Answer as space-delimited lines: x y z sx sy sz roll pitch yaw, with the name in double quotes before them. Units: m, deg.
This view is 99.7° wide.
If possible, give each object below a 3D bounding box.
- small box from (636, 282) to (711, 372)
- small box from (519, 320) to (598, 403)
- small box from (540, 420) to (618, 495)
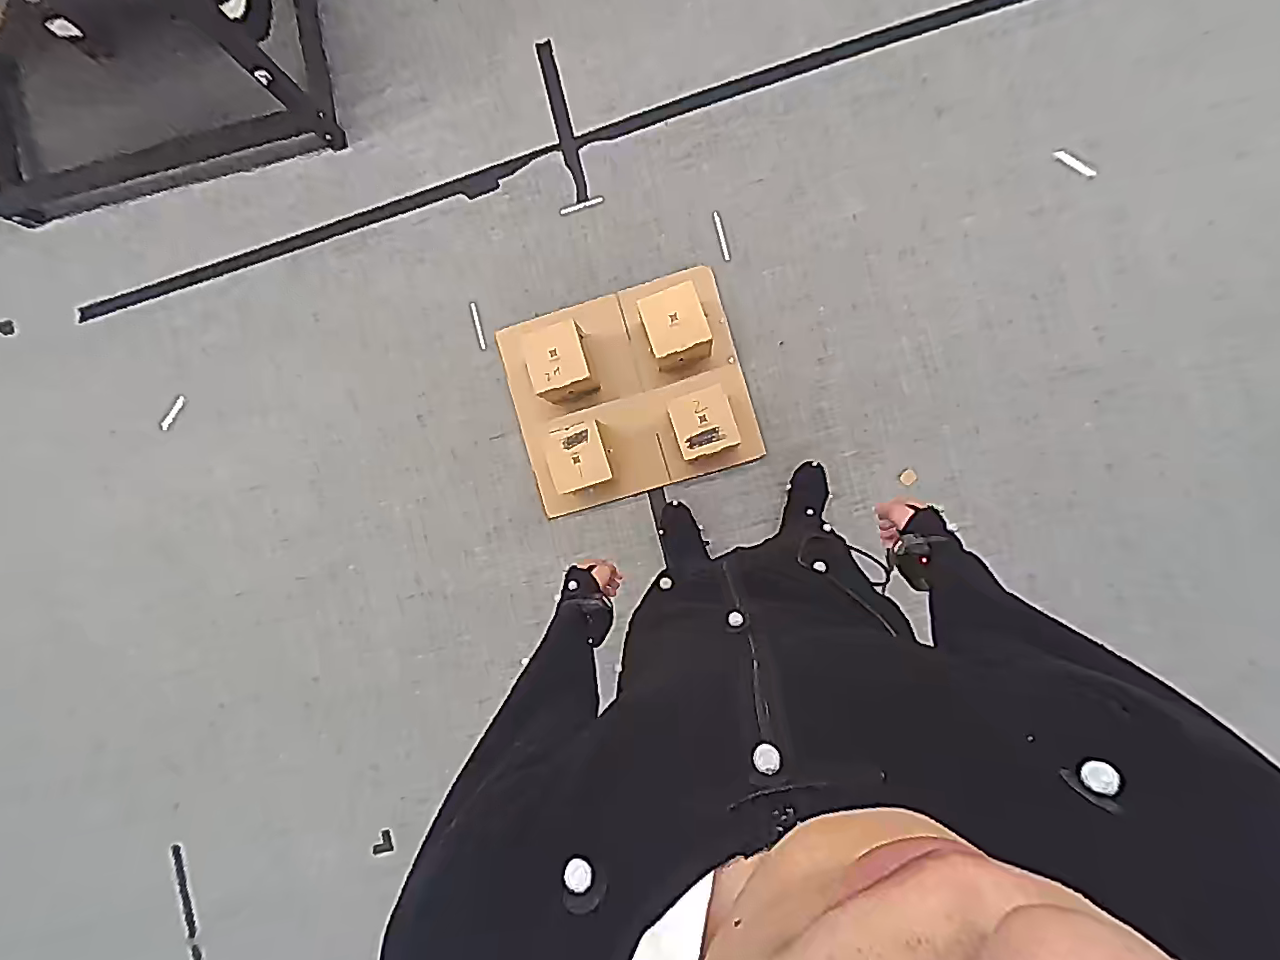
"small box" 0.097 -0.433 1.556 0.168 0.176 0.179 -20 88 5
"small box" -0.233 -0.340 1.579 0.168 0.176 0.179 -17 88 6
"small box" -0.172 -0.061 1.573 0.168 0.176 0.179 -17 89 6
